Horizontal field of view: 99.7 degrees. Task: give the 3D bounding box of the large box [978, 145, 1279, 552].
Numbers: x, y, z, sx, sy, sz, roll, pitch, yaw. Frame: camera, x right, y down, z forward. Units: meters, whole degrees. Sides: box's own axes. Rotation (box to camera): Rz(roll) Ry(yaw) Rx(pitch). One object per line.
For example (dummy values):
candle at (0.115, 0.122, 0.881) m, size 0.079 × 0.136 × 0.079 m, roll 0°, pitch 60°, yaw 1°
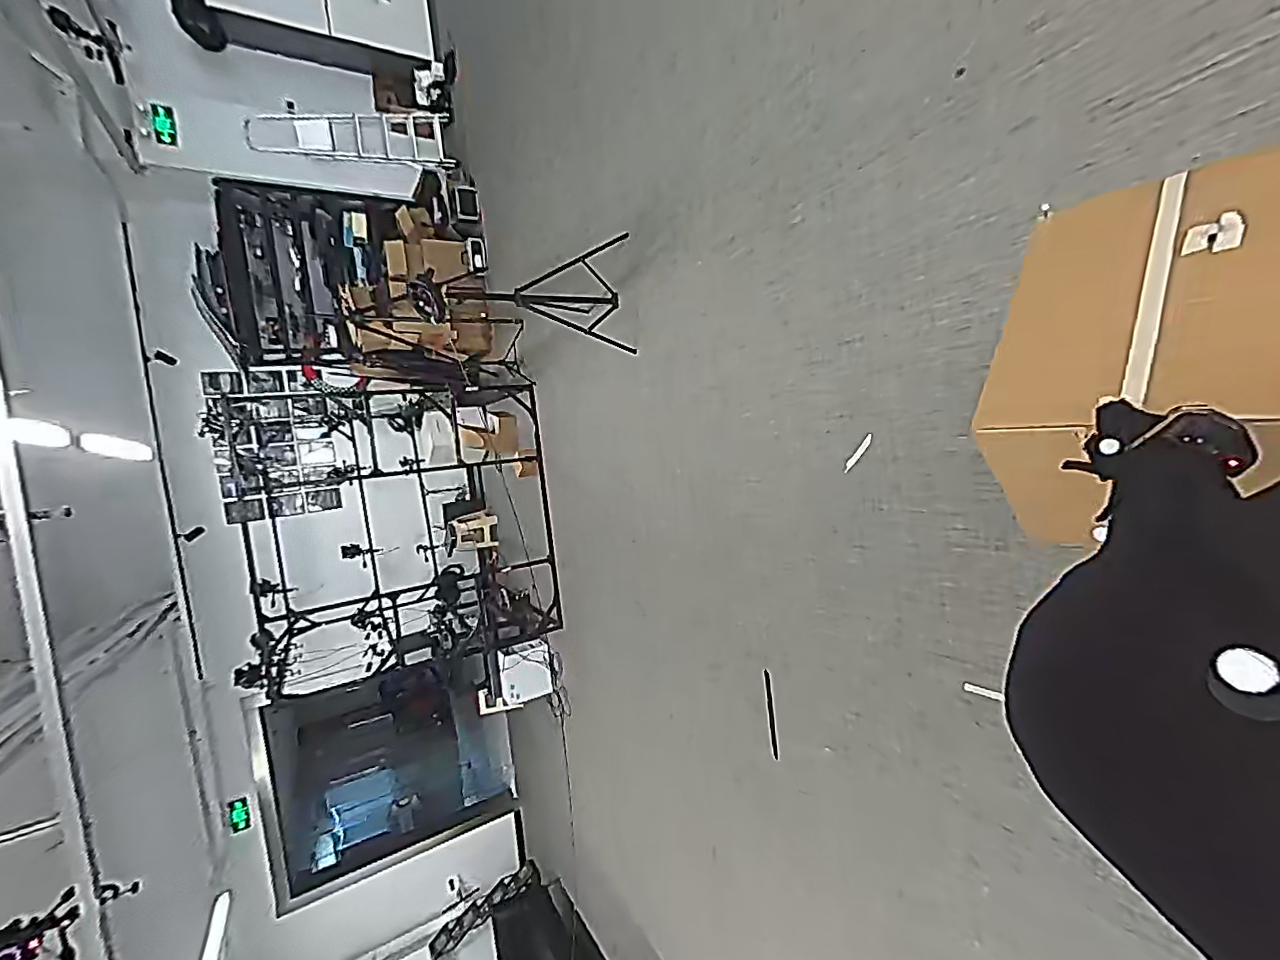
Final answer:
large box at (0.726, -0.154, 0.738) m, size 0.320 × 0.320 × 0.408 m, roll 5°, pitch 62°, yaw 52°
